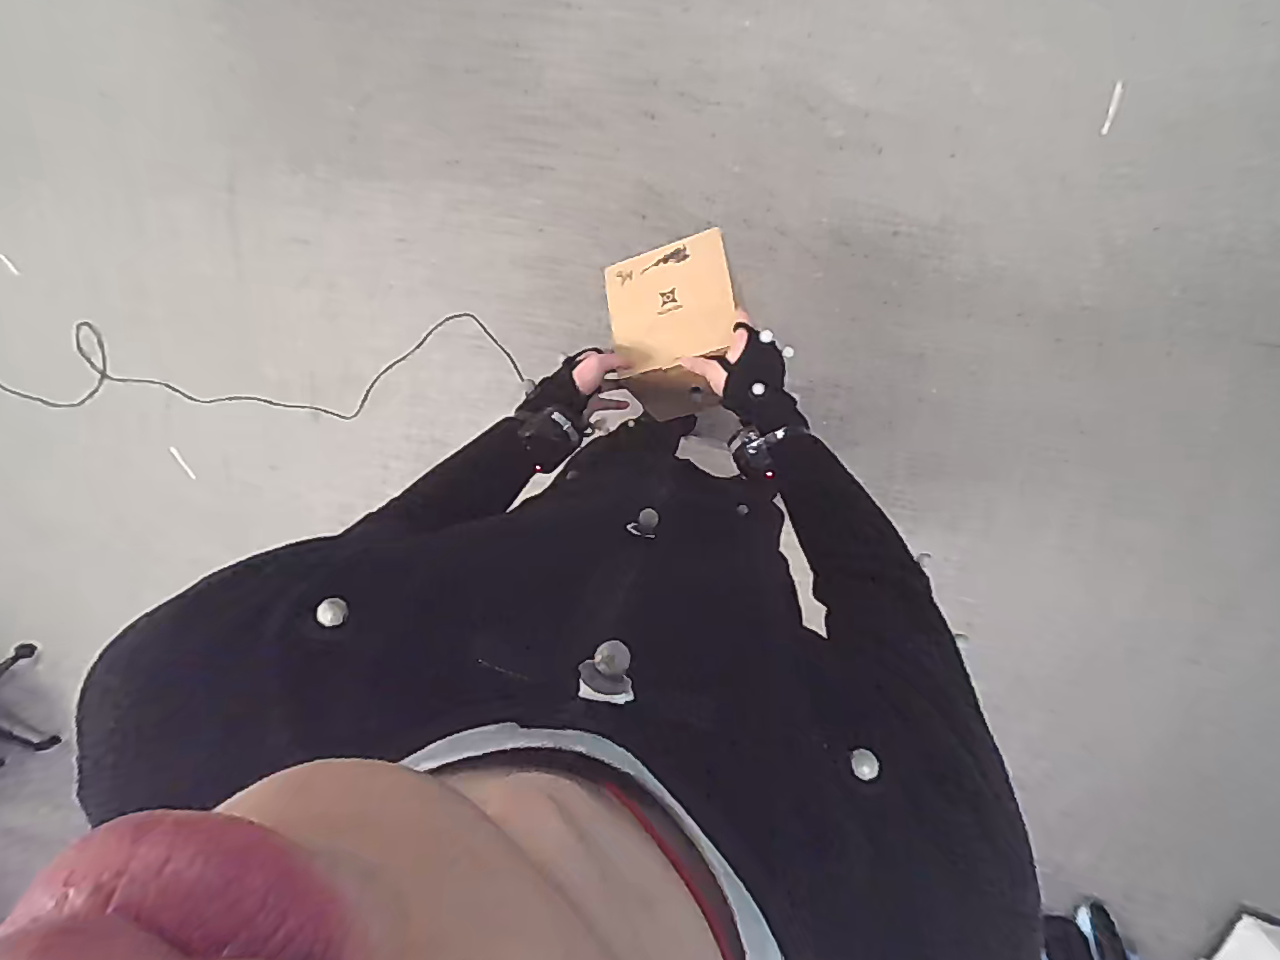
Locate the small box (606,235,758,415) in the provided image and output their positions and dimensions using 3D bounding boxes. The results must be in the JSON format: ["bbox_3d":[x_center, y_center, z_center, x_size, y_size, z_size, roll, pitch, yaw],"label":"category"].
[{"bbox_3d":[0.066,-0.206,0.781,0.168,0.176,0.179,-13,73,19],"label":"small box"}]
